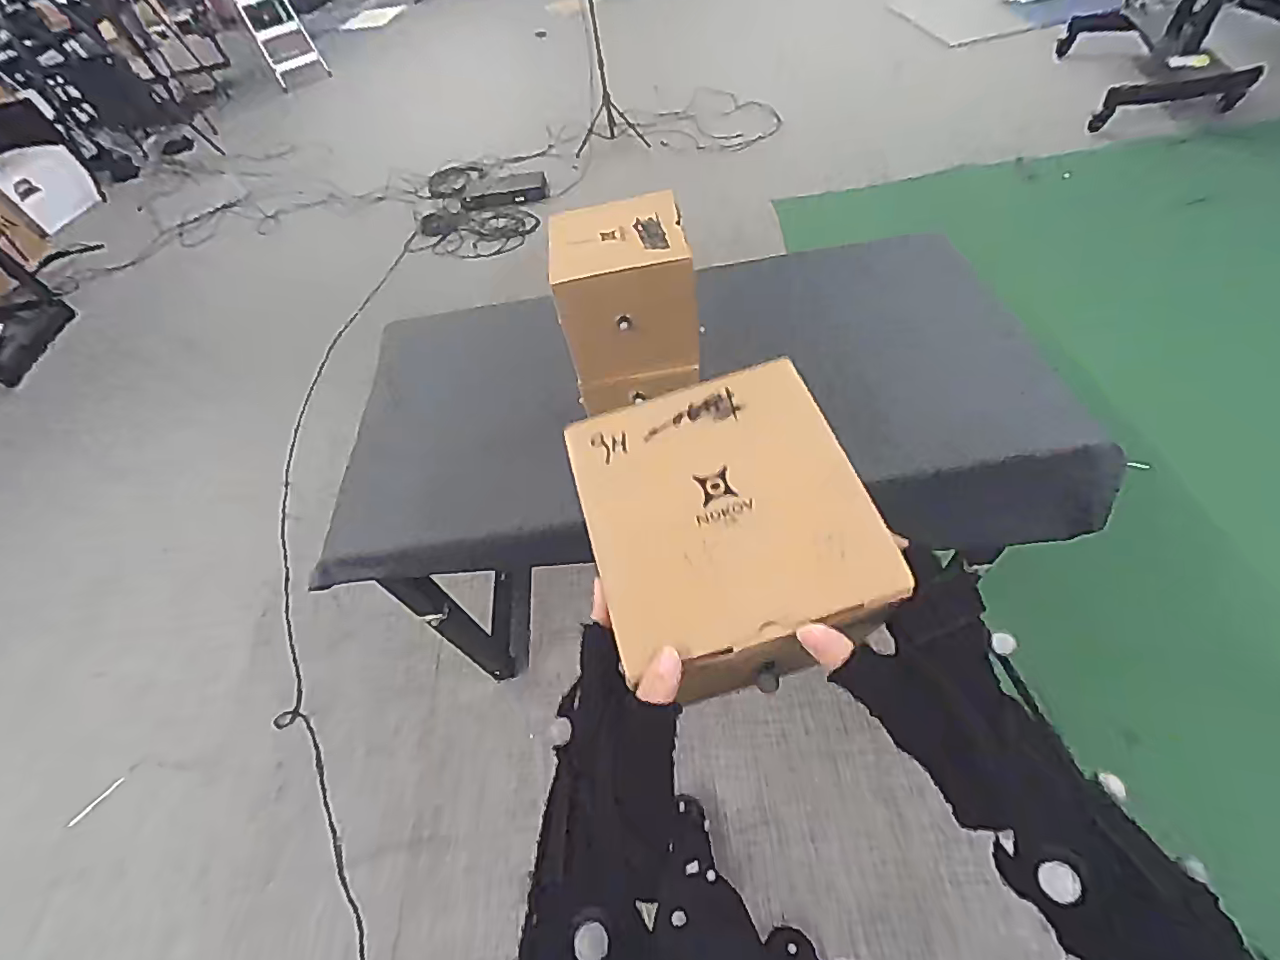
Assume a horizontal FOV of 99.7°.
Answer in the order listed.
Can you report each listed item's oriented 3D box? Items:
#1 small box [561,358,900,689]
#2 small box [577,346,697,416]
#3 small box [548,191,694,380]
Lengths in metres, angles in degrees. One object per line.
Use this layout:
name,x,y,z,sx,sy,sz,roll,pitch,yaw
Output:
small box,0.056,0.047,0.403,0.168,0.176,0.179,-17,63,-1
small box,0.000,-0.165,0.880,0.179,0.176,0.168,-7,55,2
small box,-0.021,-0.262,0.749,0.179,0.176,0.168,-10,54,4
